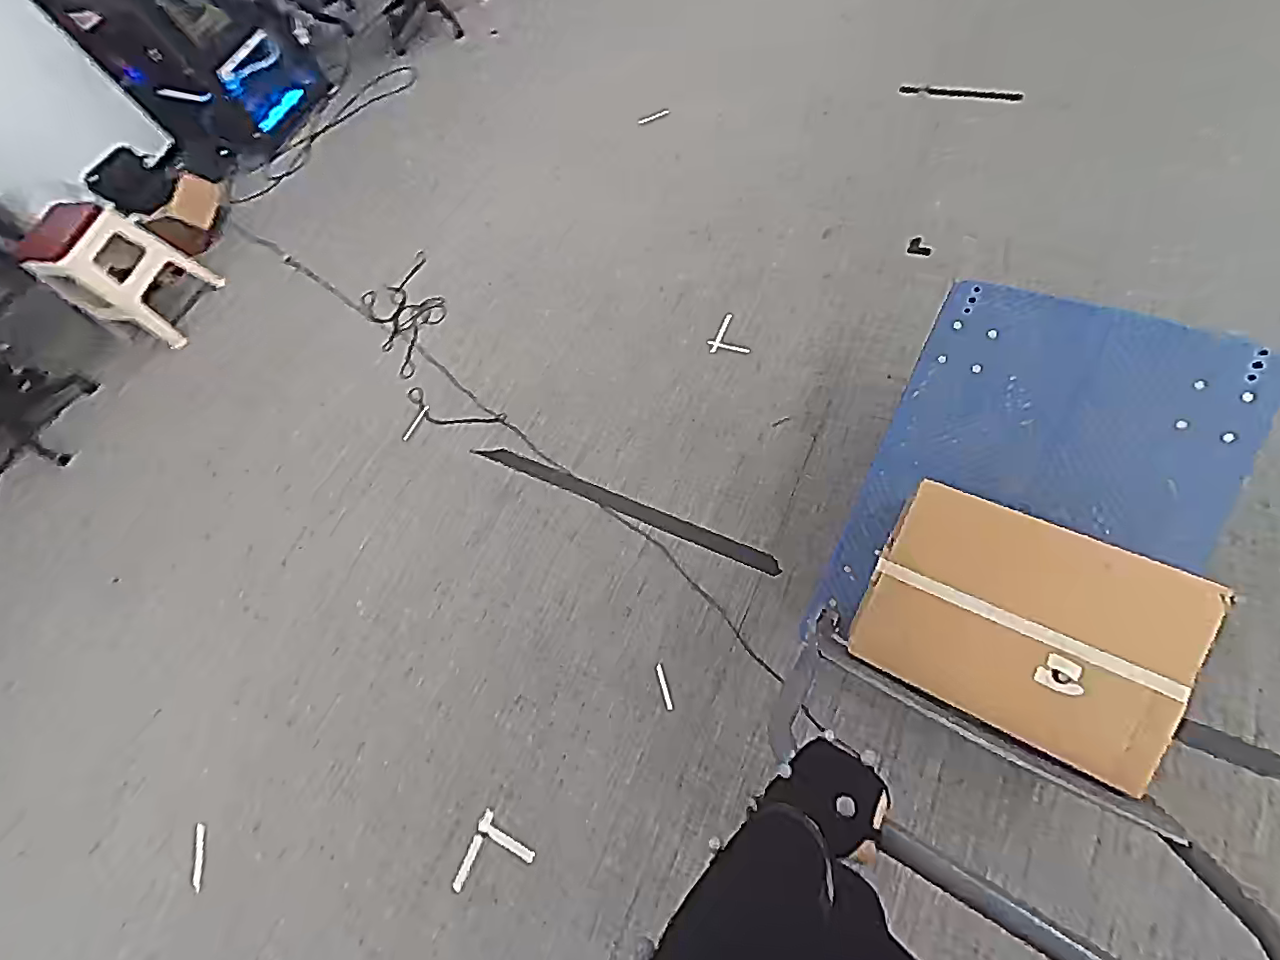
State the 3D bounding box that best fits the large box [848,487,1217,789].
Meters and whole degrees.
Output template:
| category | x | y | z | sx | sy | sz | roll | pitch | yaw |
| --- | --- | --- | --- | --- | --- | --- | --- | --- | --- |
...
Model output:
| category | x | y | z | sx | sy | sz | roll | pitch | yaw |
| --- | --- | --- | --- | --- | --- | --- | --- | --- | --- |
| large box | 0.623 | 0.242 | 0.960 | 0.408 | 0.320 | 0.320 | 25 | 91 | 23 |
